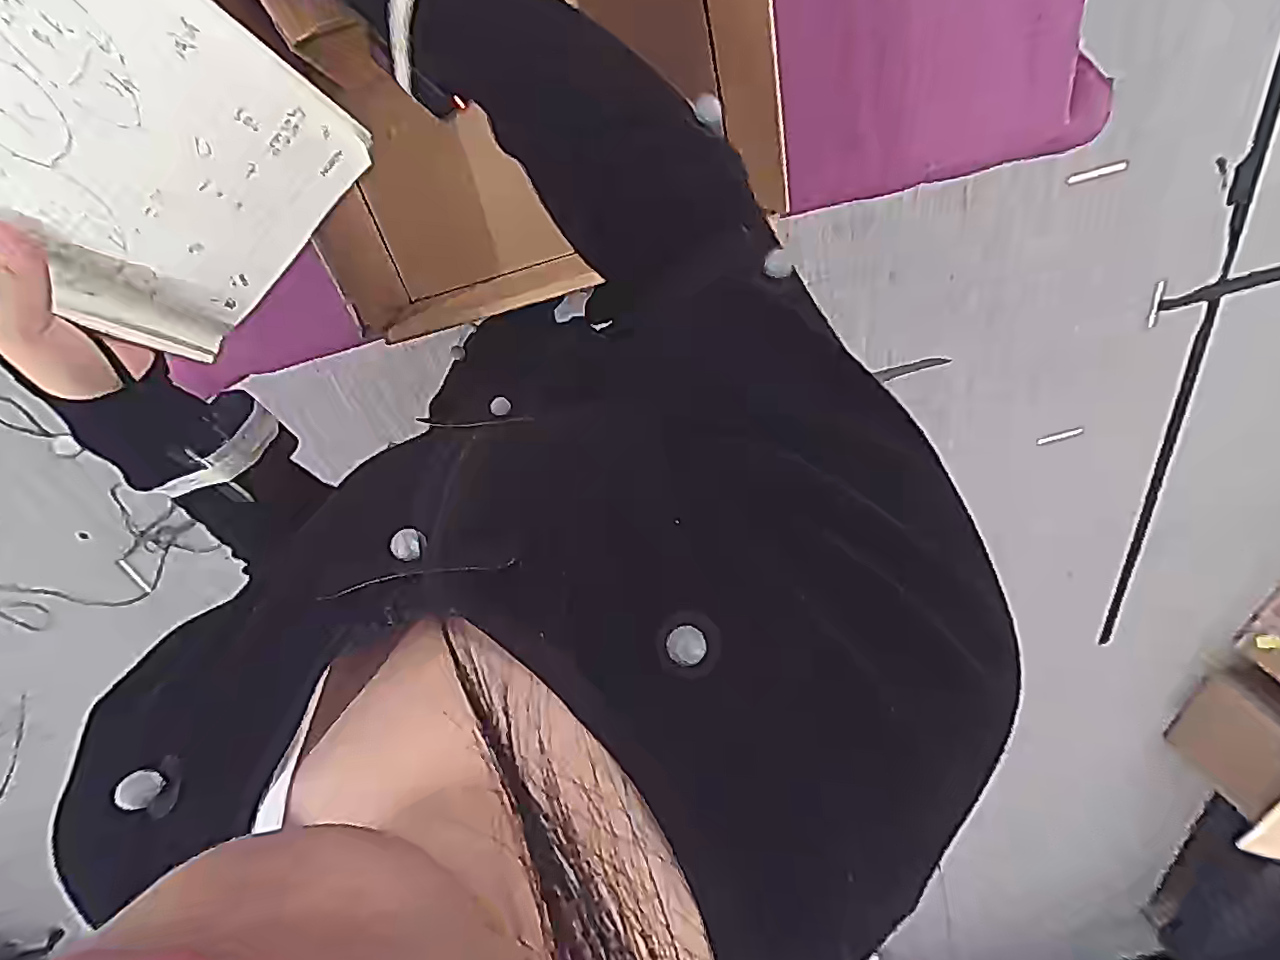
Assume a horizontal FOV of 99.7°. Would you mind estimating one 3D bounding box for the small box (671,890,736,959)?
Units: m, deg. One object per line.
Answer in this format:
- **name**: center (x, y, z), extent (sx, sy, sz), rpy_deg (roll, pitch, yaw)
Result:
- **small box**: center (0.204, 1.454, 1.726), extent (0.168, 0.176, 0.179), rpy_deg (-16, 122, 0)
